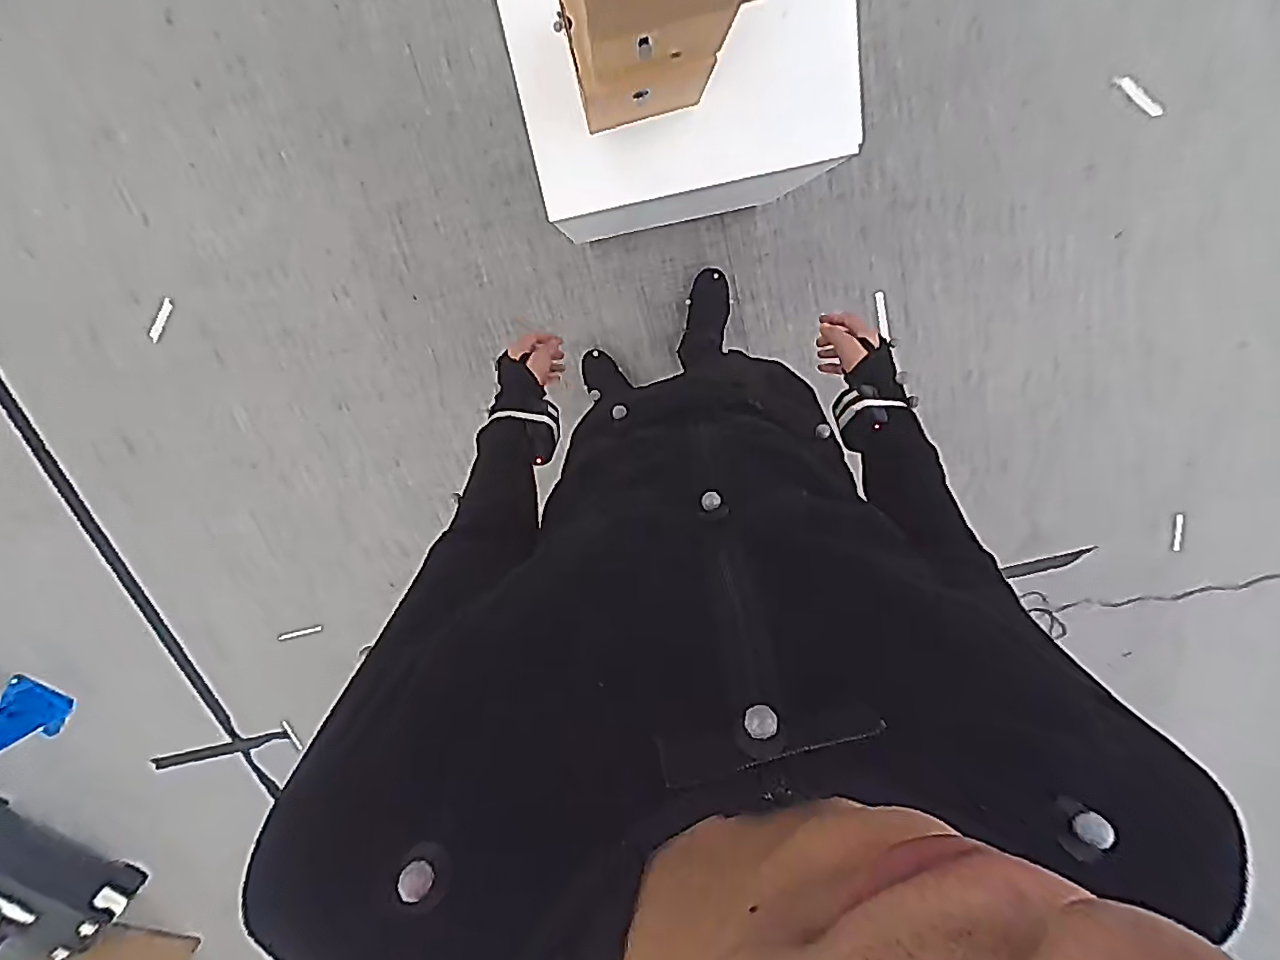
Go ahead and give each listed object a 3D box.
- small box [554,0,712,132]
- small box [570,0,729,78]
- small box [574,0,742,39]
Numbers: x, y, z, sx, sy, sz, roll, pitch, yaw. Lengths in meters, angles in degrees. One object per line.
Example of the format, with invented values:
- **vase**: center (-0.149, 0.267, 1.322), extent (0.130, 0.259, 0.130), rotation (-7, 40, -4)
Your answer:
- **small box**: center (-0.015, -0.601, 0.732), extent (0.179, 0.176, 0.168), rotation (-15, 110, 2)
- **small box**: center (0.002, -0.563, 0.574), extent (0.168, 0.176, 0.179), rotation (-13, 109, 2)
- **small box**: center (0.014, -0.492, 0.425), extent (0.179, 0.176, 0.168), rotation (-14, 110, 2)
